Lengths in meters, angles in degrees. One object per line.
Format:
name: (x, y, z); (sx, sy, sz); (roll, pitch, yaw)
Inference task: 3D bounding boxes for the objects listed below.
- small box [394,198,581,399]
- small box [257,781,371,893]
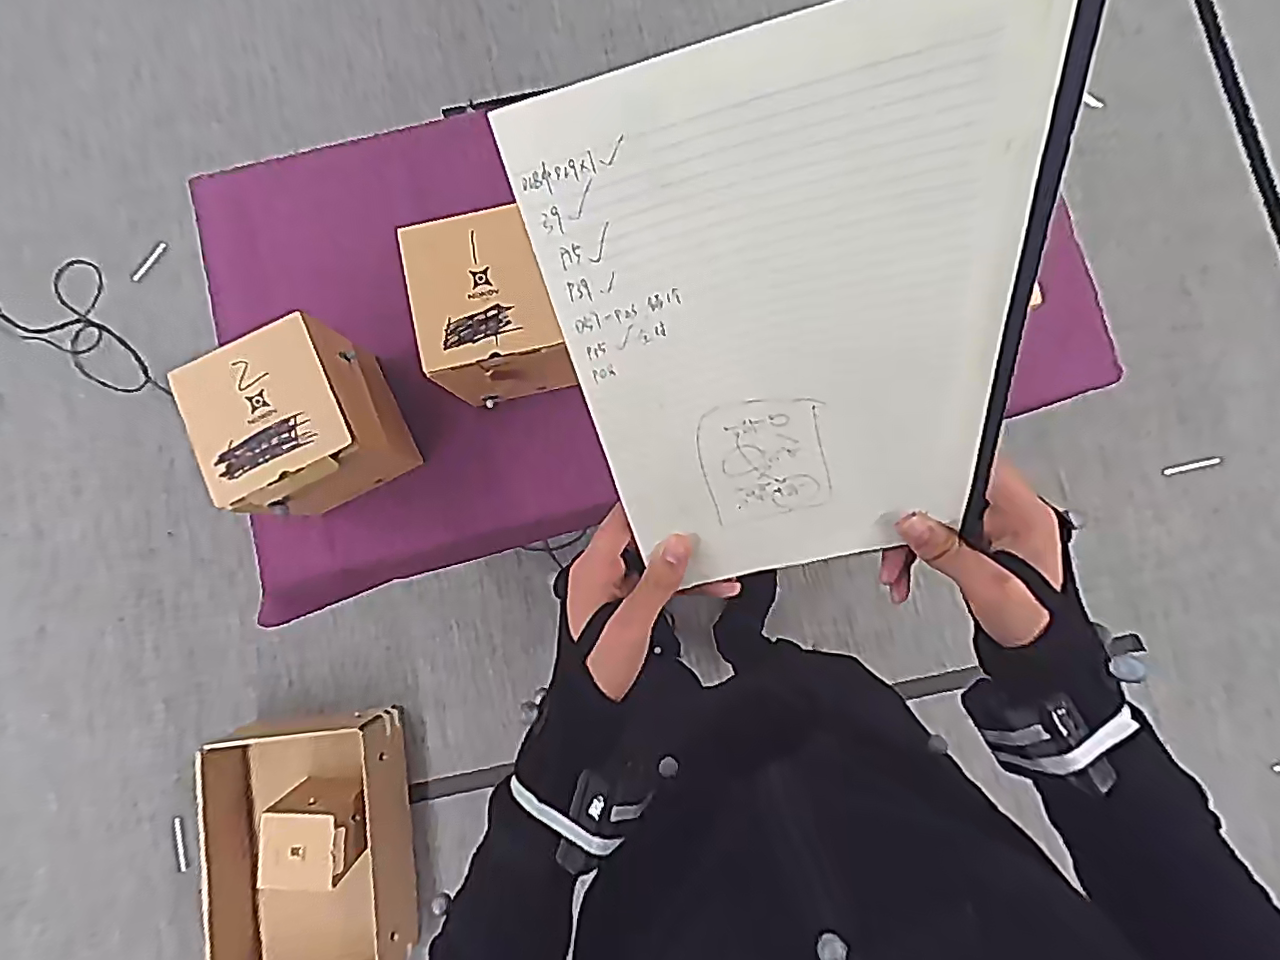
small box: (-0.177, -0.209, 0.678); (0.168, 0.176, 0.179); (-12, 84, 0)
small box: (-0.769, 0.844, 1.292); (0.179, 0.176, 0.168); (1, 86, 1)
